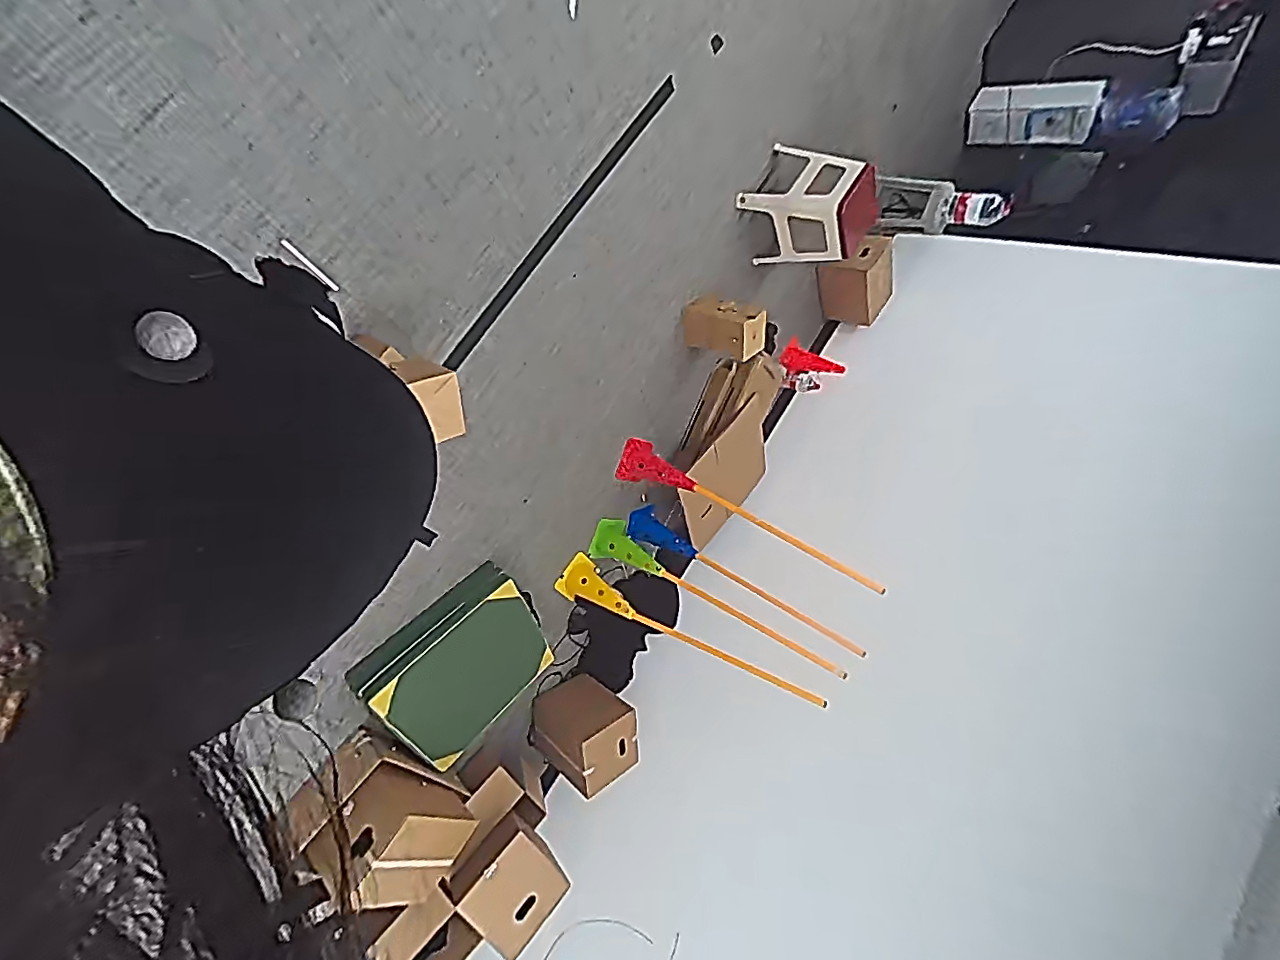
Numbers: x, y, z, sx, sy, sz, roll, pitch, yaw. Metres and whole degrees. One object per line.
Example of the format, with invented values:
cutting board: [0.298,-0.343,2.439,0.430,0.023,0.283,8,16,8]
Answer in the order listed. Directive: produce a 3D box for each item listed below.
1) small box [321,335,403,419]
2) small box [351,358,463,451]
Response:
small box: [-0.699,-0.252,1.419,0.179,0.176,0.168,-56,145,-14]
small box: [-0.569,-0.187,1.334,0.179,0.176,0.168,-31,133,-40]
